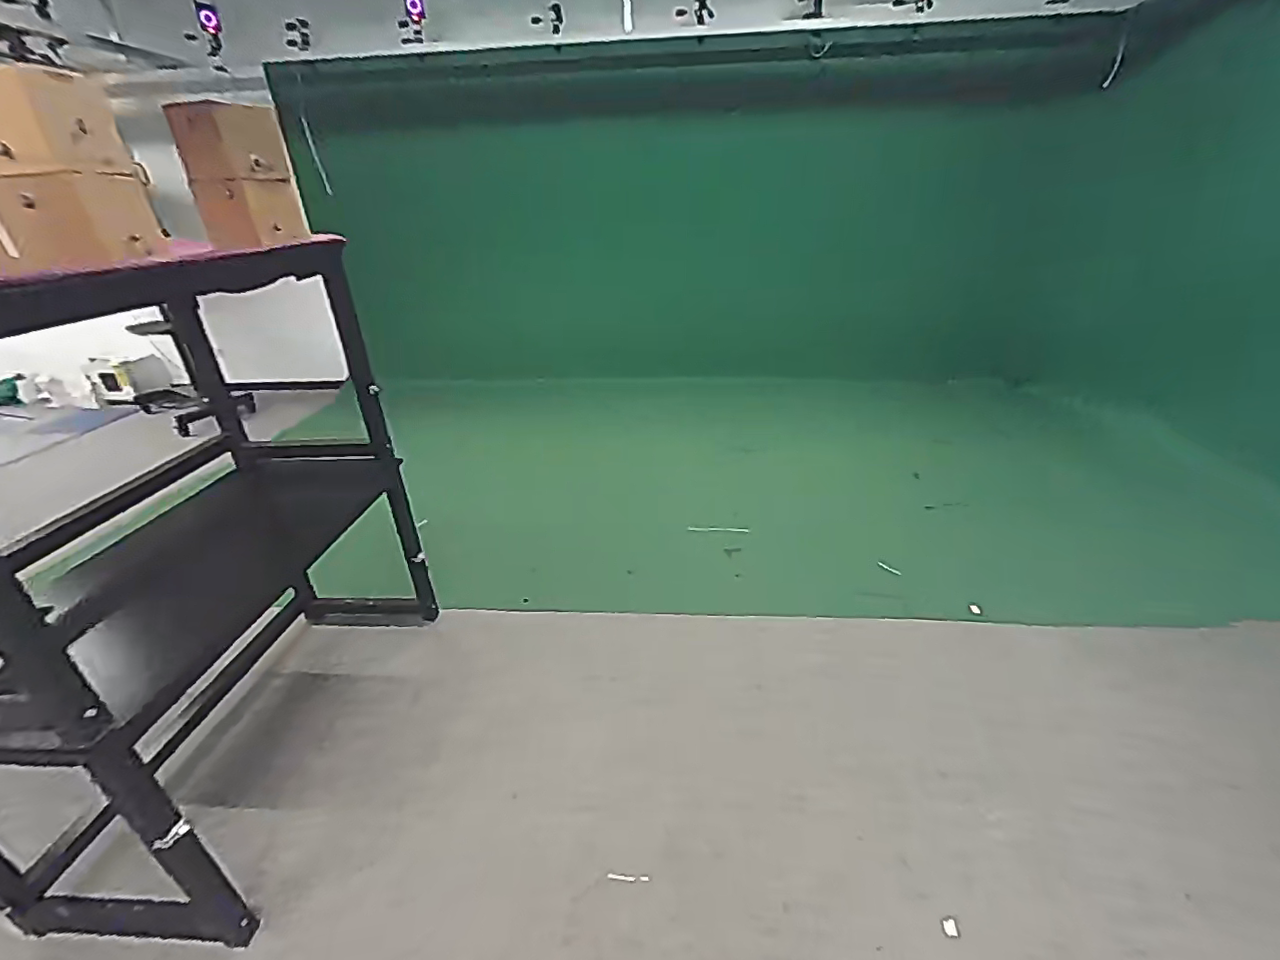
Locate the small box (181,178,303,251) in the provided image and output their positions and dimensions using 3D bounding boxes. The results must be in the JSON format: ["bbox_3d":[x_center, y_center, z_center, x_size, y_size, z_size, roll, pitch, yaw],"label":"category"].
[{"bbox_3d":[-1.056,-0.710,1.448,0.179,0.176,0.168,6,30,13],"label":"small box"}]

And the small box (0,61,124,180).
[{"bbox_3d":[-1.143,-0.662,1.010,0.179,0.176,0.168,-1,28,2],"label":"small box"}]

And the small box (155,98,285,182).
[{"bbox_3d":[-1.053,-0.852,1.369,0.179,0.176,0.168,9,31,15],"label":"small box"}]
